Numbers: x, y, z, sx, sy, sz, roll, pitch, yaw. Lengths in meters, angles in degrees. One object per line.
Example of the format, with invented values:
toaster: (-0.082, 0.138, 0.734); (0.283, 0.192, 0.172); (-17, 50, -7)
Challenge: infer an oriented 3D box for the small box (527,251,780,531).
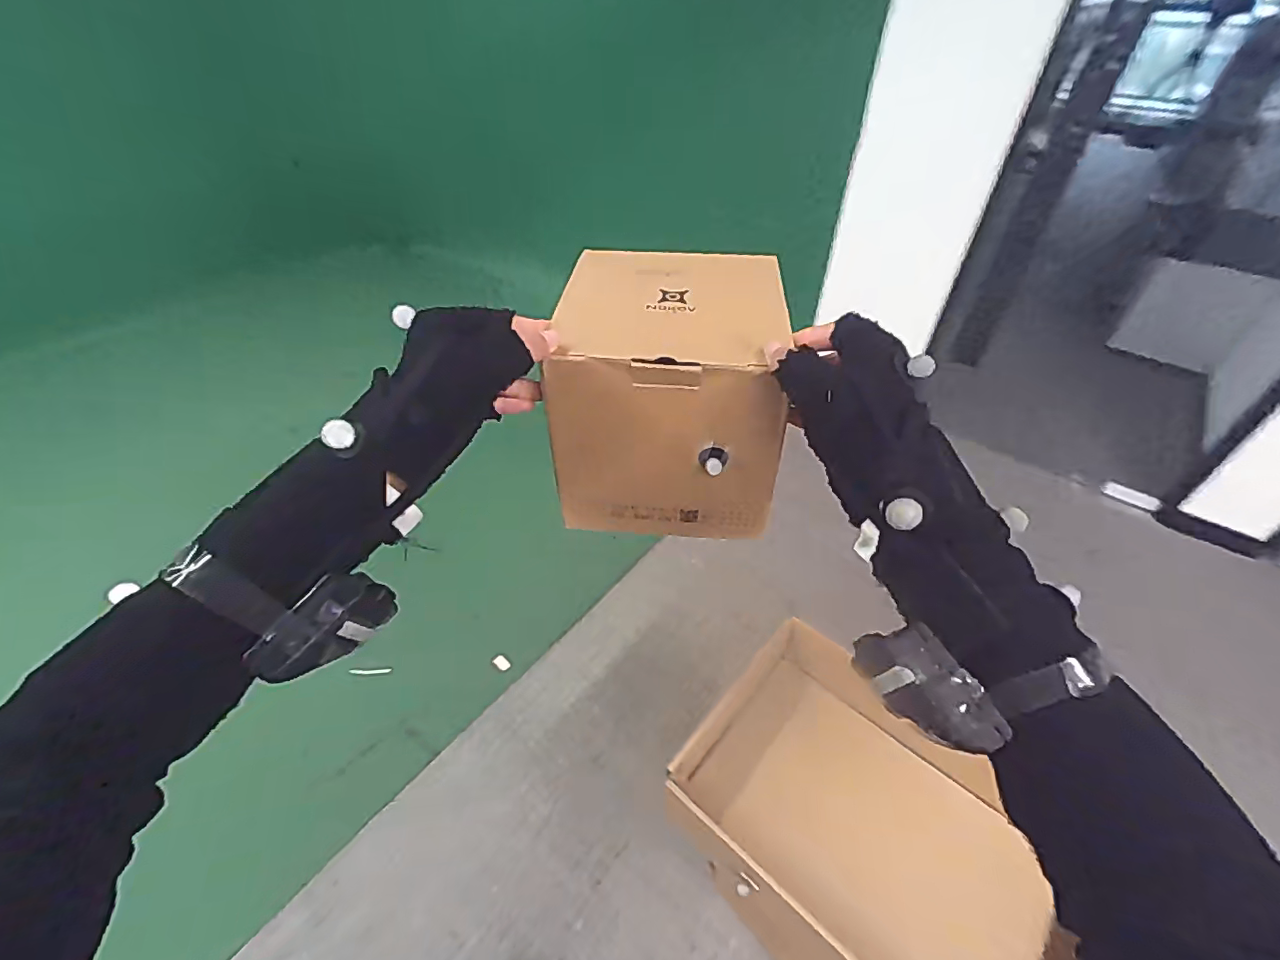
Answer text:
small box: (0.015, -0.075, 0.454); (0.168, 0.176, 0.179); (4, 43, 3)
